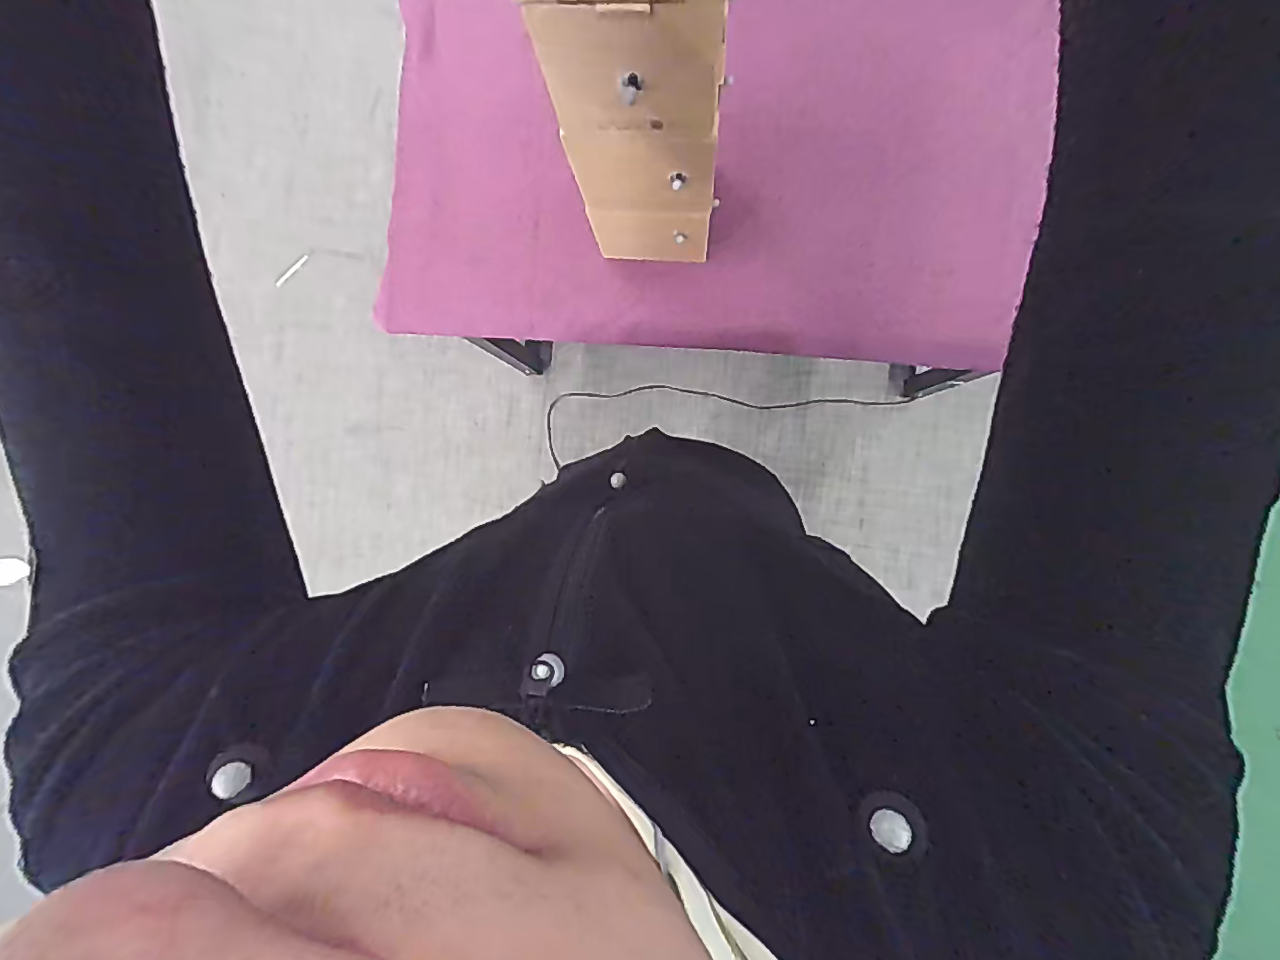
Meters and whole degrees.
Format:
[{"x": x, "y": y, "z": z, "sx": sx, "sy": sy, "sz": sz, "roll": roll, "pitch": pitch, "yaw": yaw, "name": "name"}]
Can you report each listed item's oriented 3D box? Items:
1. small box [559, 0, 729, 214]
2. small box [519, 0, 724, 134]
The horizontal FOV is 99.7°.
[{"x": 0.010, "y": -0.450, "z": 0.667, "sx": 0.179, "sy": 0.176, "sz": 0.168, "roll": 5, "pitch": 90, "yaw": 5, "name": "small box"}, {"x": -0.004, "y": -0.457, "z": 0.505, "sx": 0.168, "sy": 0.176, "sz": 0.179, "roll": 4, "pitch": 90, "yaw": 4, "name": "small box"}]
